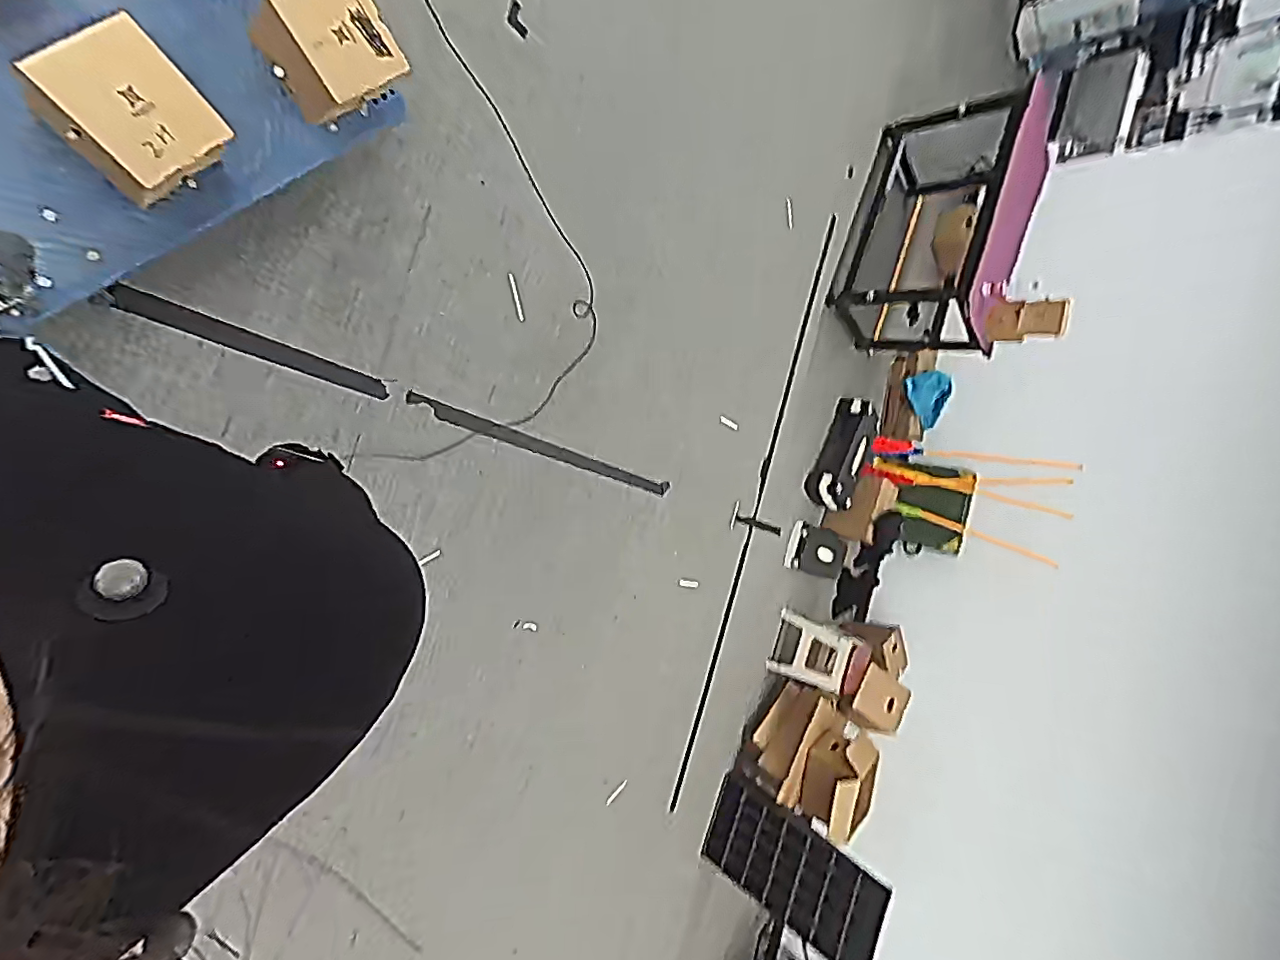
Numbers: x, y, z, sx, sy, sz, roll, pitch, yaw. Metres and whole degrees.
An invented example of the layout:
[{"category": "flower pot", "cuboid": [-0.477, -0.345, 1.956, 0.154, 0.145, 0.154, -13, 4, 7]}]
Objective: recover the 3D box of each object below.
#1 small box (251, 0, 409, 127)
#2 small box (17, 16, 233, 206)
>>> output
[{"category": "small box", "cuboid": [-0.585, -0.803, 1.018, 0.179, 0.176, 0.168, -49, 131, -25]}, {"category": "small box", "cuboid": [-0.802, -0.566, 0.852, 0.168, 0.176, 0.179, -54, 133, -22]}]
